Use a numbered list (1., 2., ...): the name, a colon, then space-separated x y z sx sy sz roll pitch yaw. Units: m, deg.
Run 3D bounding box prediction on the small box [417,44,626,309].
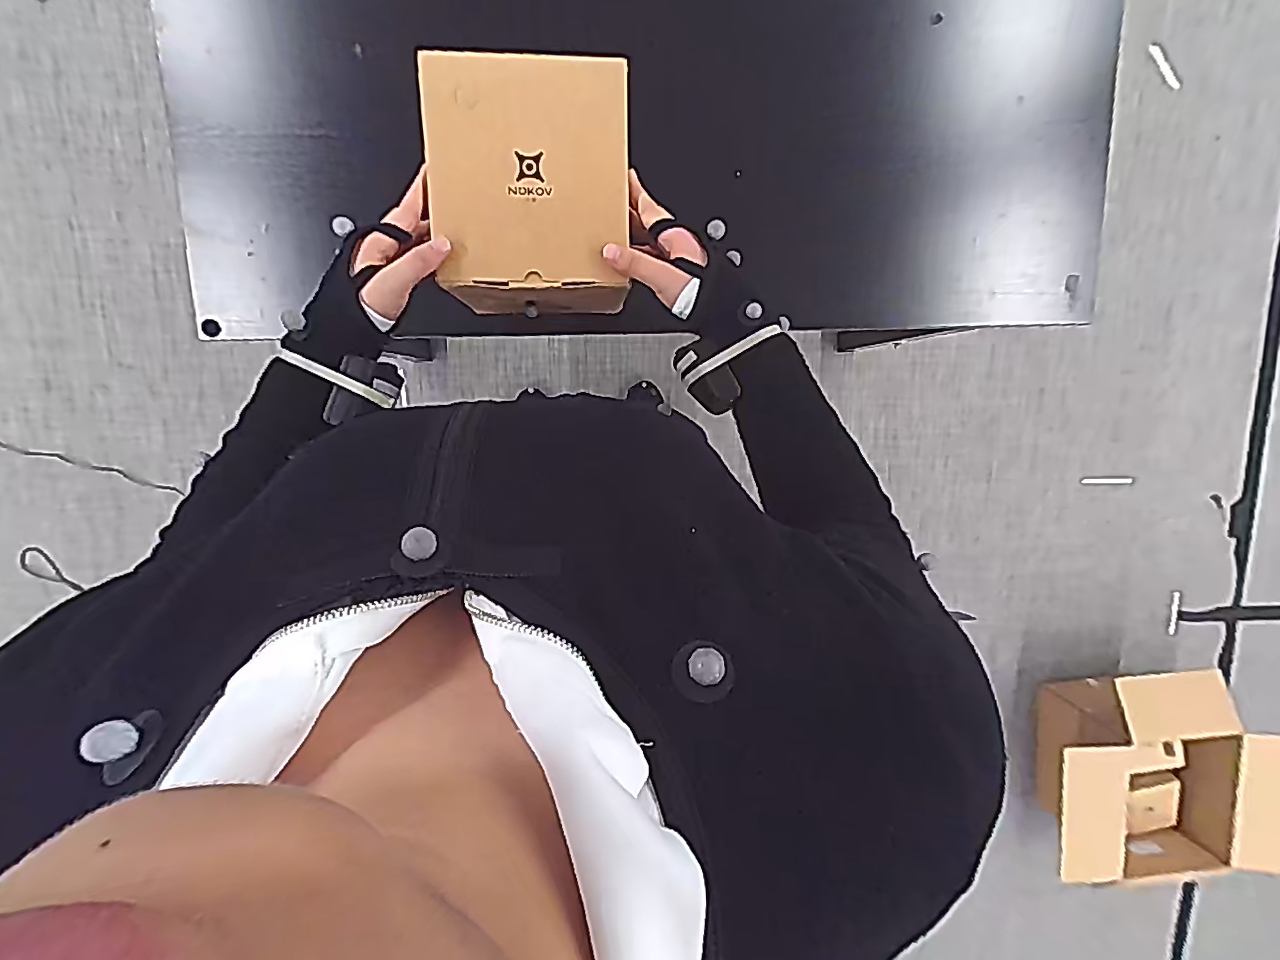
1. small box: -0.102 -0.268 0.520 0.168 0.176 0.179 -2 100 -5
